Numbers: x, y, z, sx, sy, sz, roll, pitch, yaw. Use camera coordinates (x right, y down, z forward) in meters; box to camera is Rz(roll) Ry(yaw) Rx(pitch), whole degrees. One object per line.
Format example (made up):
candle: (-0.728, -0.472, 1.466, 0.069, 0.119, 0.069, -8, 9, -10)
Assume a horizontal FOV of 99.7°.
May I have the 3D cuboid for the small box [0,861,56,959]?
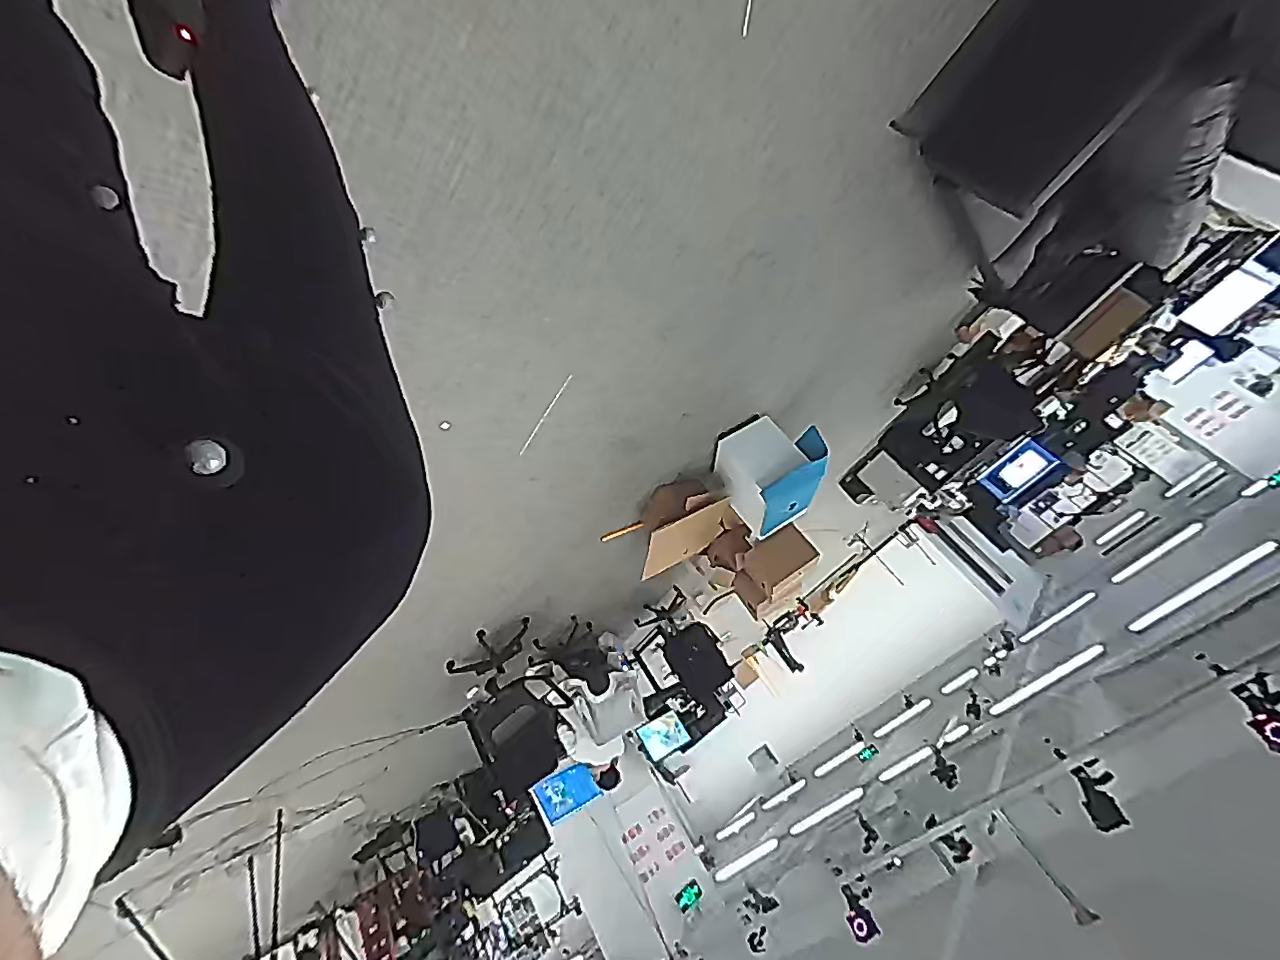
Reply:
small box: (-1.694, 1.167, 1.449, 0.168, 0.176, 0.179, -3, 138, -48)
